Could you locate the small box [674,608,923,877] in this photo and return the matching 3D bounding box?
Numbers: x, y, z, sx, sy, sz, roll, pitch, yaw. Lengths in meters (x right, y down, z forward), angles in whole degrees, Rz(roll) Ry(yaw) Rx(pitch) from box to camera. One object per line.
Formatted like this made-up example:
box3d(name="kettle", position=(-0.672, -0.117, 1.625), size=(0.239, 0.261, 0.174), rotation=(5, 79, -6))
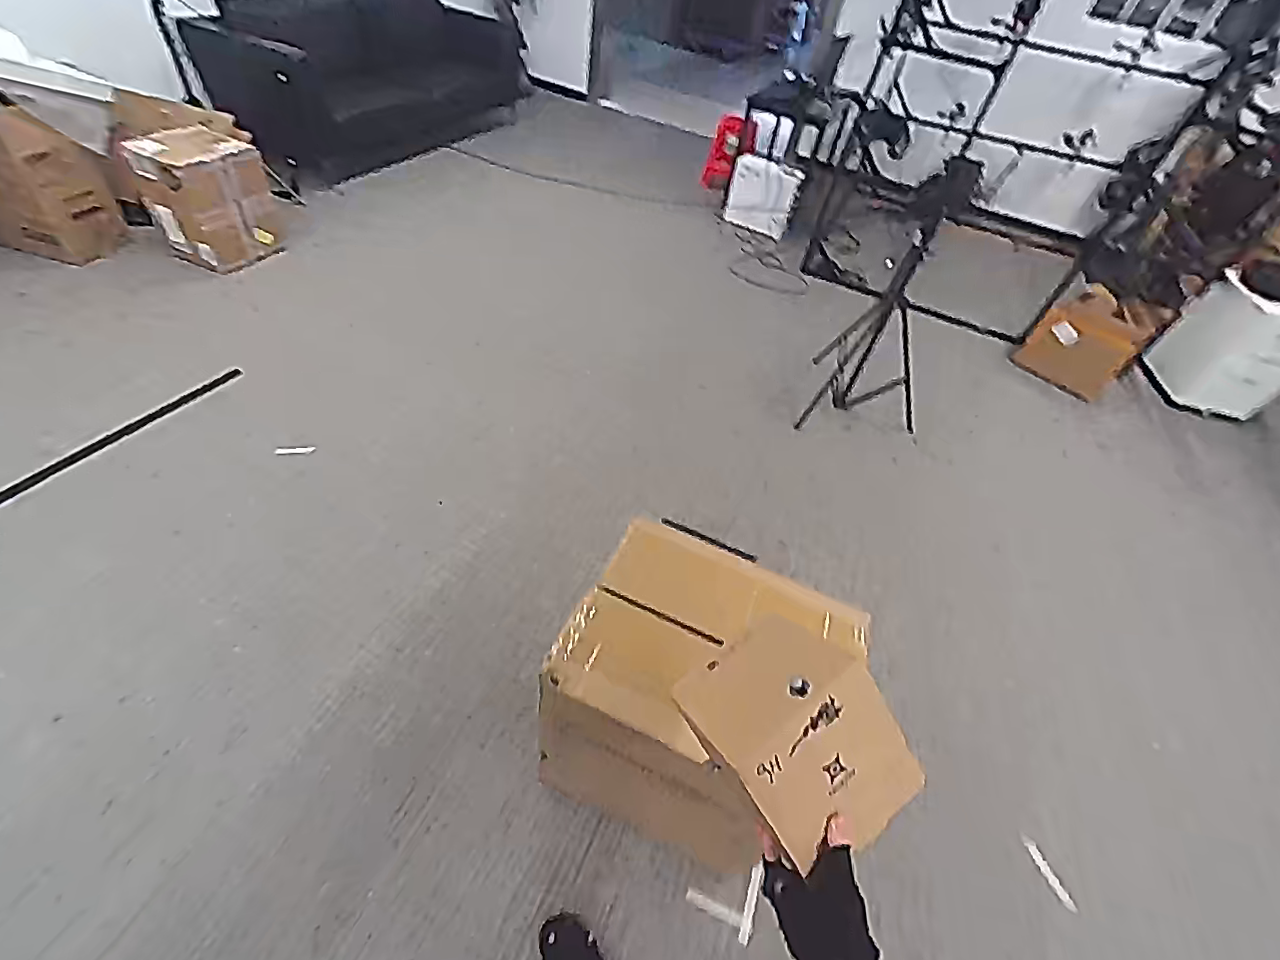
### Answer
box3d(name="small box", position=(0.168, 0.275, 0.610), size=(0.168, 0.176, 0.179), rotation=(-34, 104, -15))
